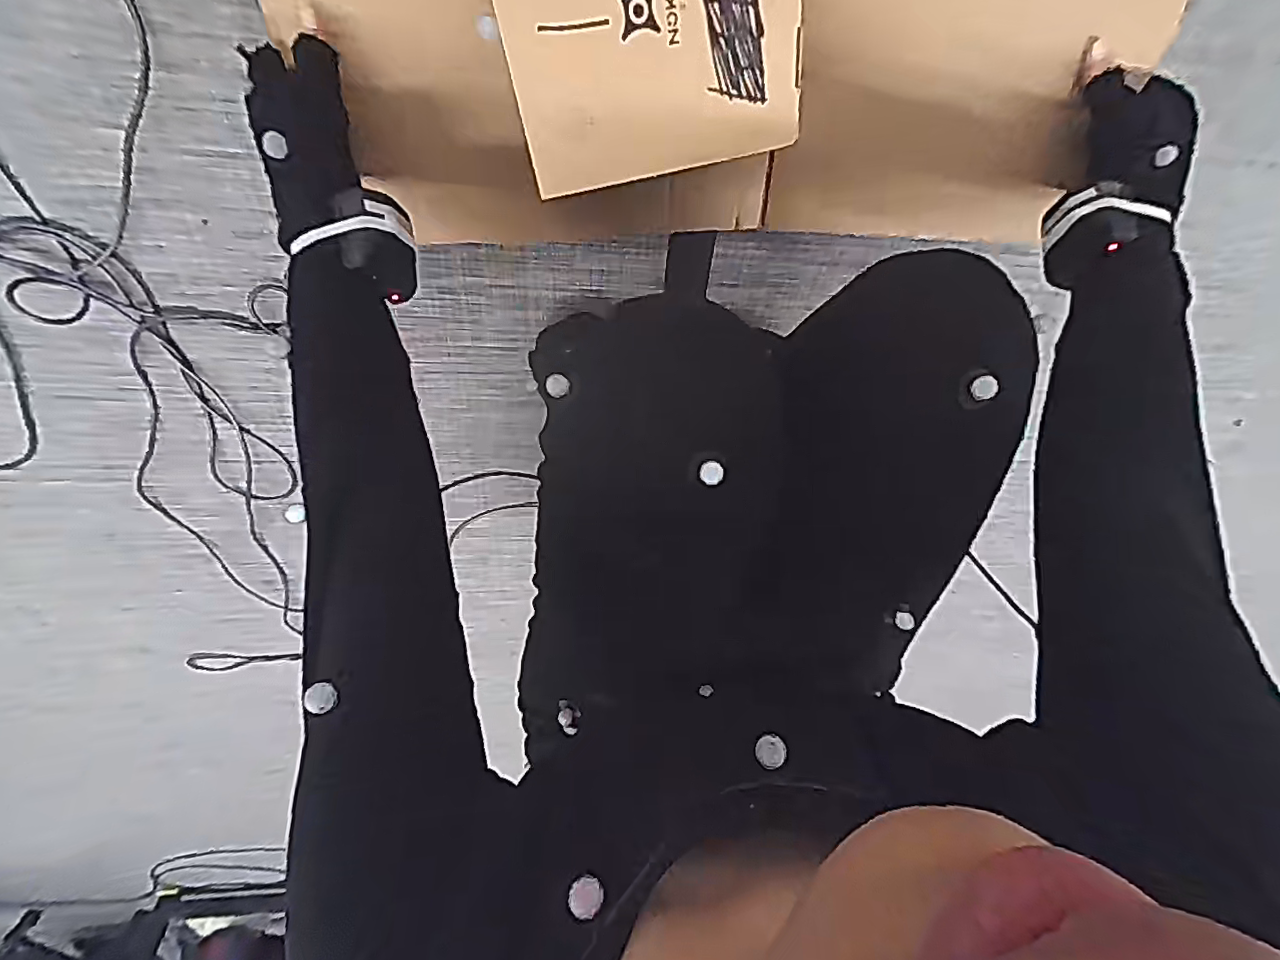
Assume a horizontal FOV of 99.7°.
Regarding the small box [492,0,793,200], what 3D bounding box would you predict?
[{"bbox_3d":[-0.008,-0.319,0.374,0.179,0.176,0.168,-13,132,-1],"label":"small box"}]
